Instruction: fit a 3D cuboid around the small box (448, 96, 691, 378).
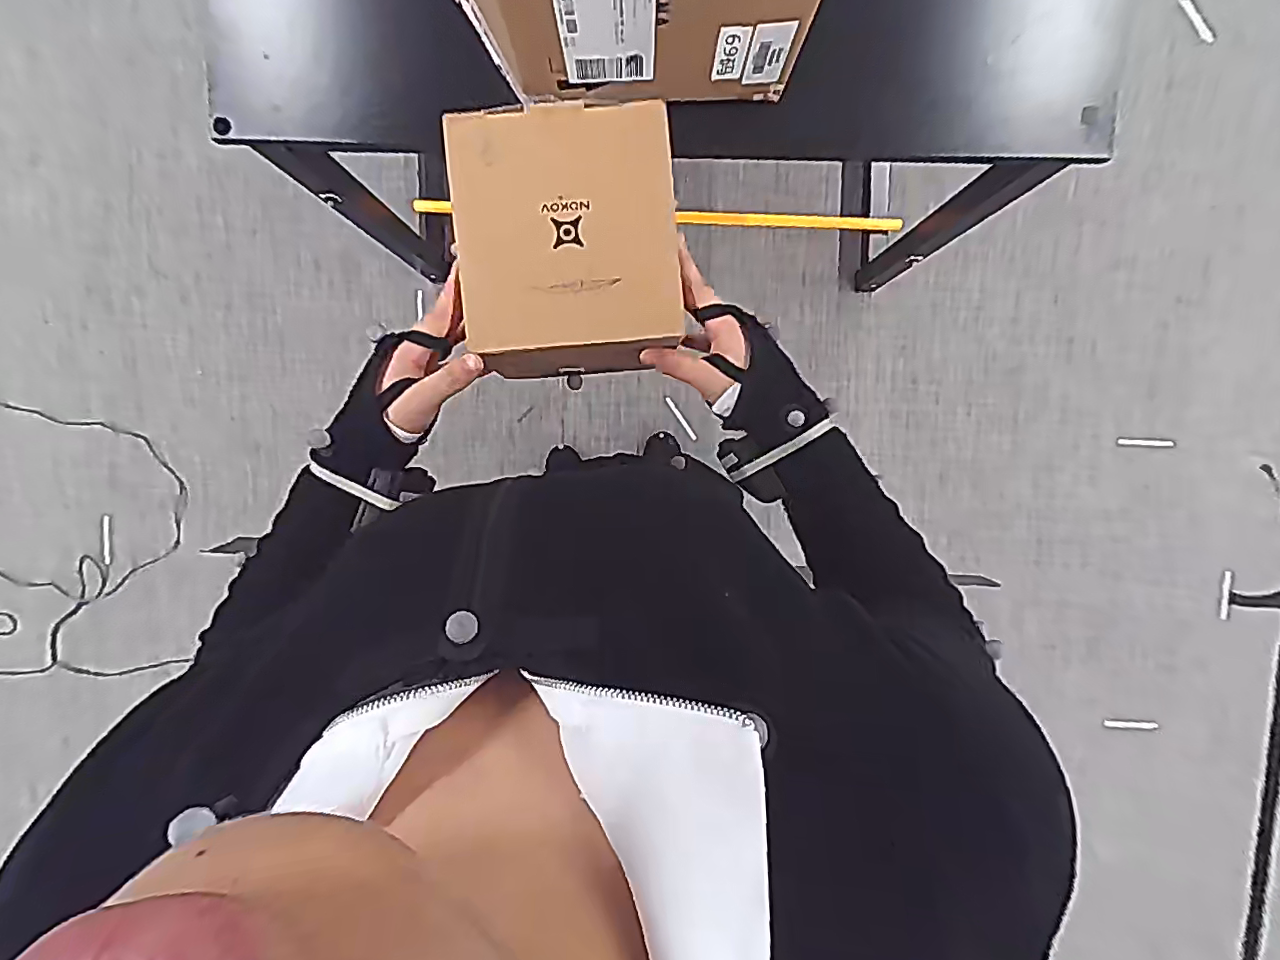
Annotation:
[{"bbox_3d":[-0.055,-0.192,0.473,0.168,0.176,0.179,-6,95,-3],"label":"small box"}]
